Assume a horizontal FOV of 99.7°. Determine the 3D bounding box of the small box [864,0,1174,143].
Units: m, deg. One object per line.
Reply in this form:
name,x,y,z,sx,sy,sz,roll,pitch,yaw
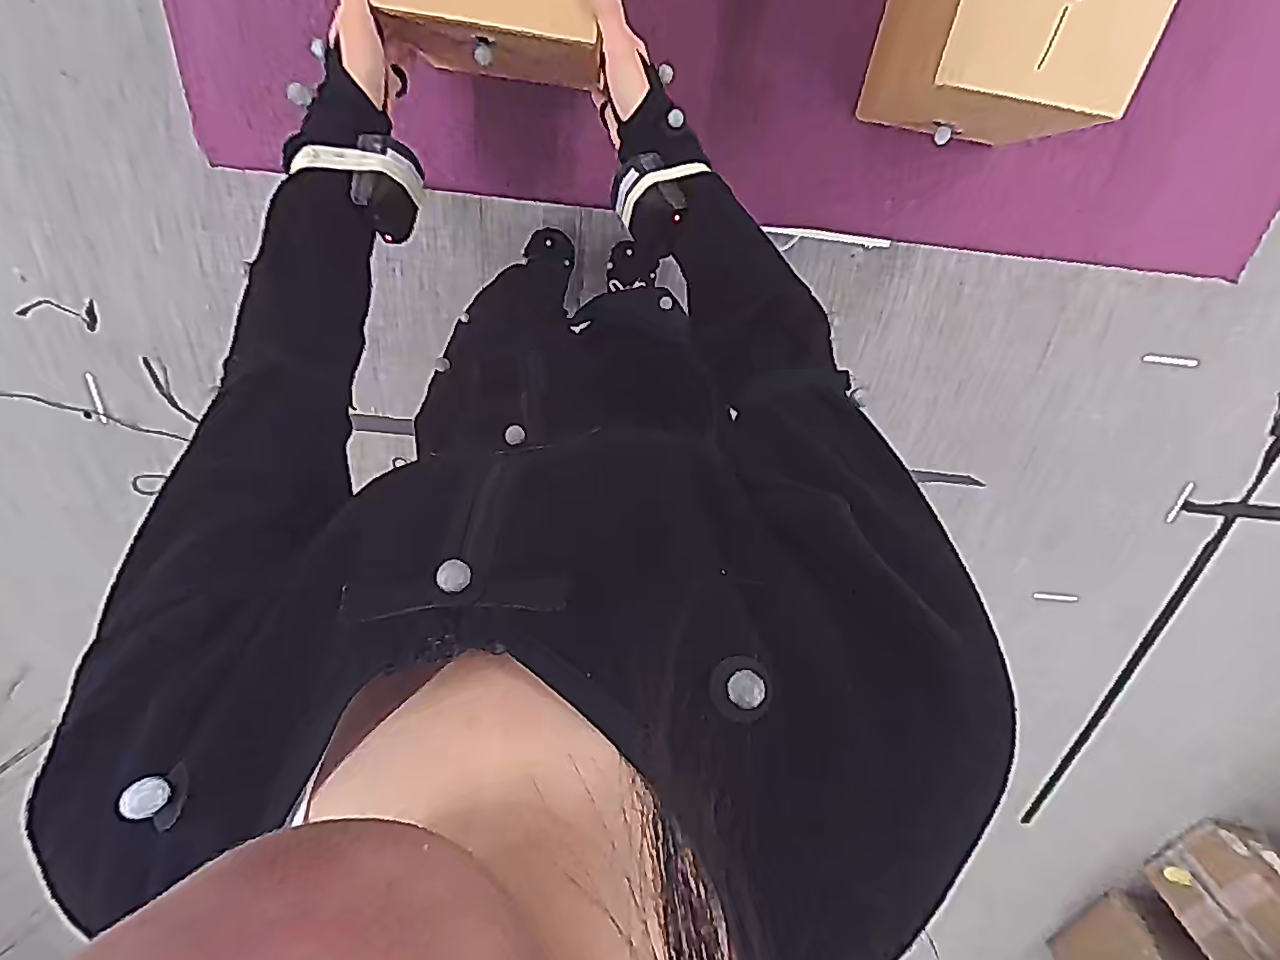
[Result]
small box,0.324,-0.419,0.473,0.168,0.176,0.179,8,115,-5
